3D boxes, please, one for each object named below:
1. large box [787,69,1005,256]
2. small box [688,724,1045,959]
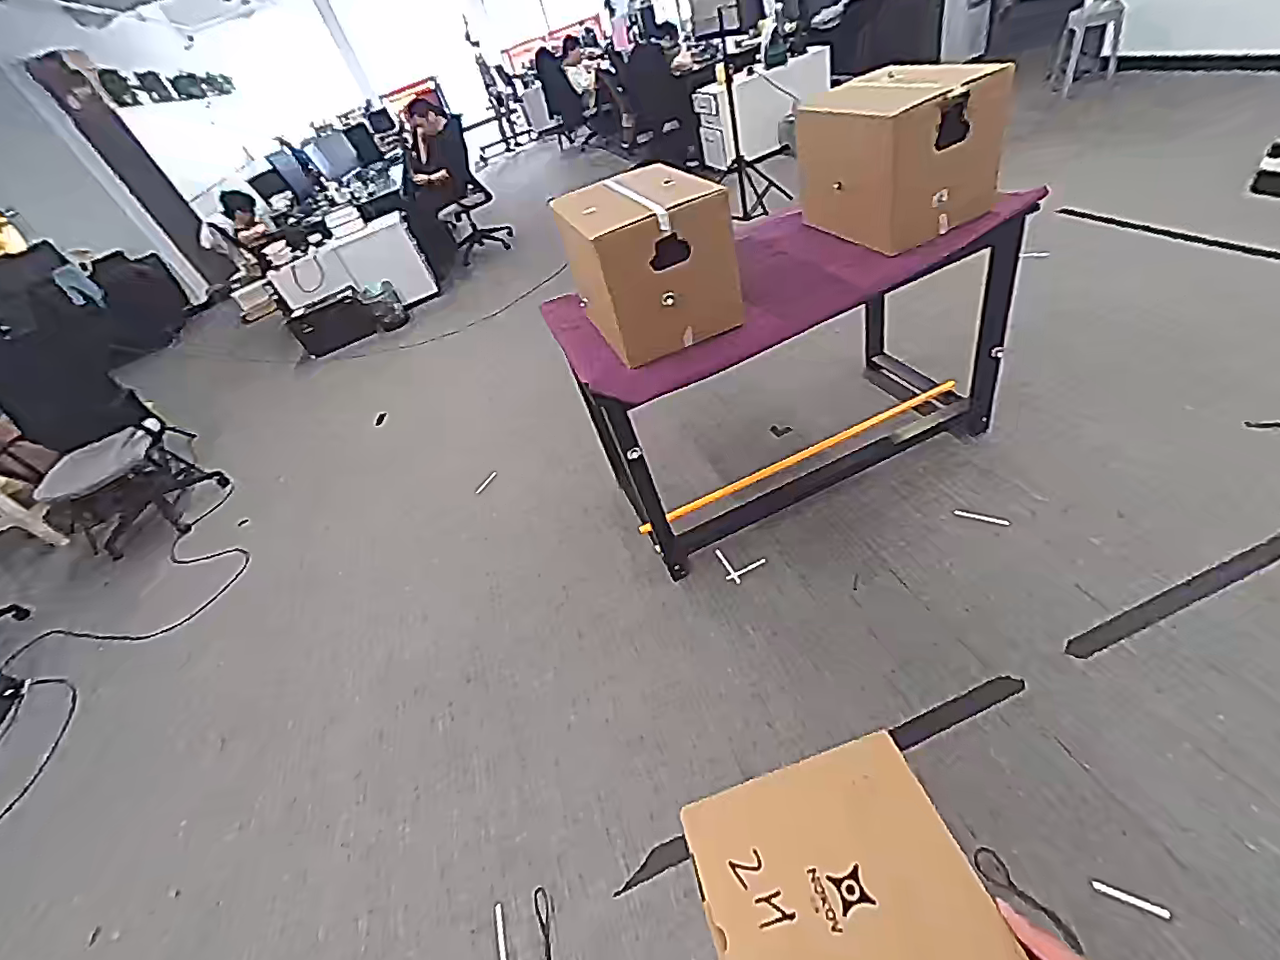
[{"bbox_3d":[0.639,-0.825,1.406,0.320,0.320,0.408,-25,40,-6],"label":"large box"},{"bbox_3d":[0.153,0.320,0.404,0.179,0.176,0.168,-20,40,-1],"label":"small box"}]
